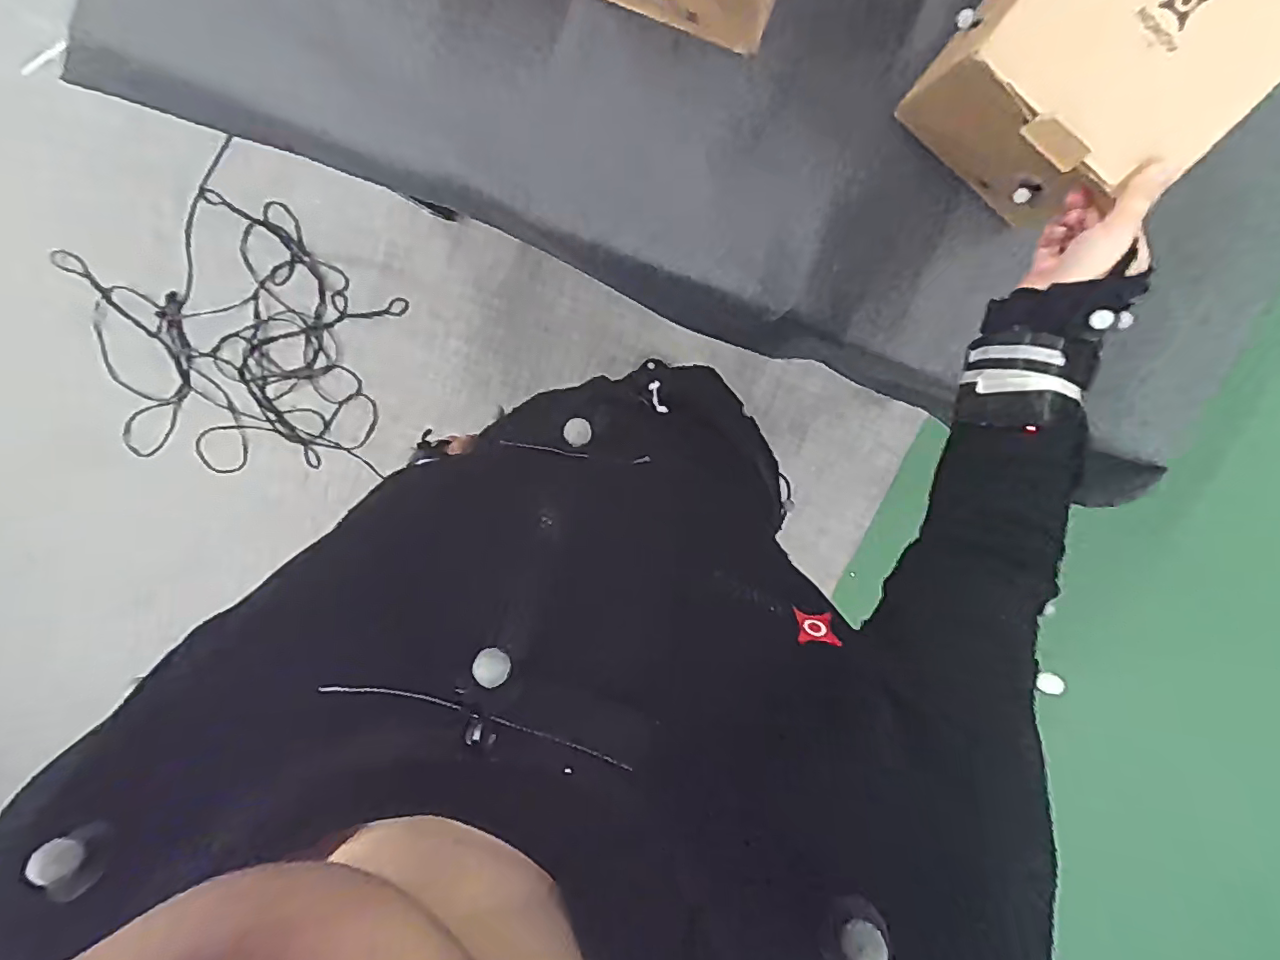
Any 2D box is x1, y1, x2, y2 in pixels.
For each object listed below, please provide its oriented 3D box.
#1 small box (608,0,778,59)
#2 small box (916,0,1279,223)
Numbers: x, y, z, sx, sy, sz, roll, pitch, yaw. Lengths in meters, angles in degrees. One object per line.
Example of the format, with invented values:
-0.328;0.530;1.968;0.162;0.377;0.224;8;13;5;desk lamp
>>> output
0.059;-0.487;0.417;0.168;0.176;0.179;22;104;-1;small box
0.344;-0.321;0.412;0.168;0.176;0.179;36;111;-9;small box
